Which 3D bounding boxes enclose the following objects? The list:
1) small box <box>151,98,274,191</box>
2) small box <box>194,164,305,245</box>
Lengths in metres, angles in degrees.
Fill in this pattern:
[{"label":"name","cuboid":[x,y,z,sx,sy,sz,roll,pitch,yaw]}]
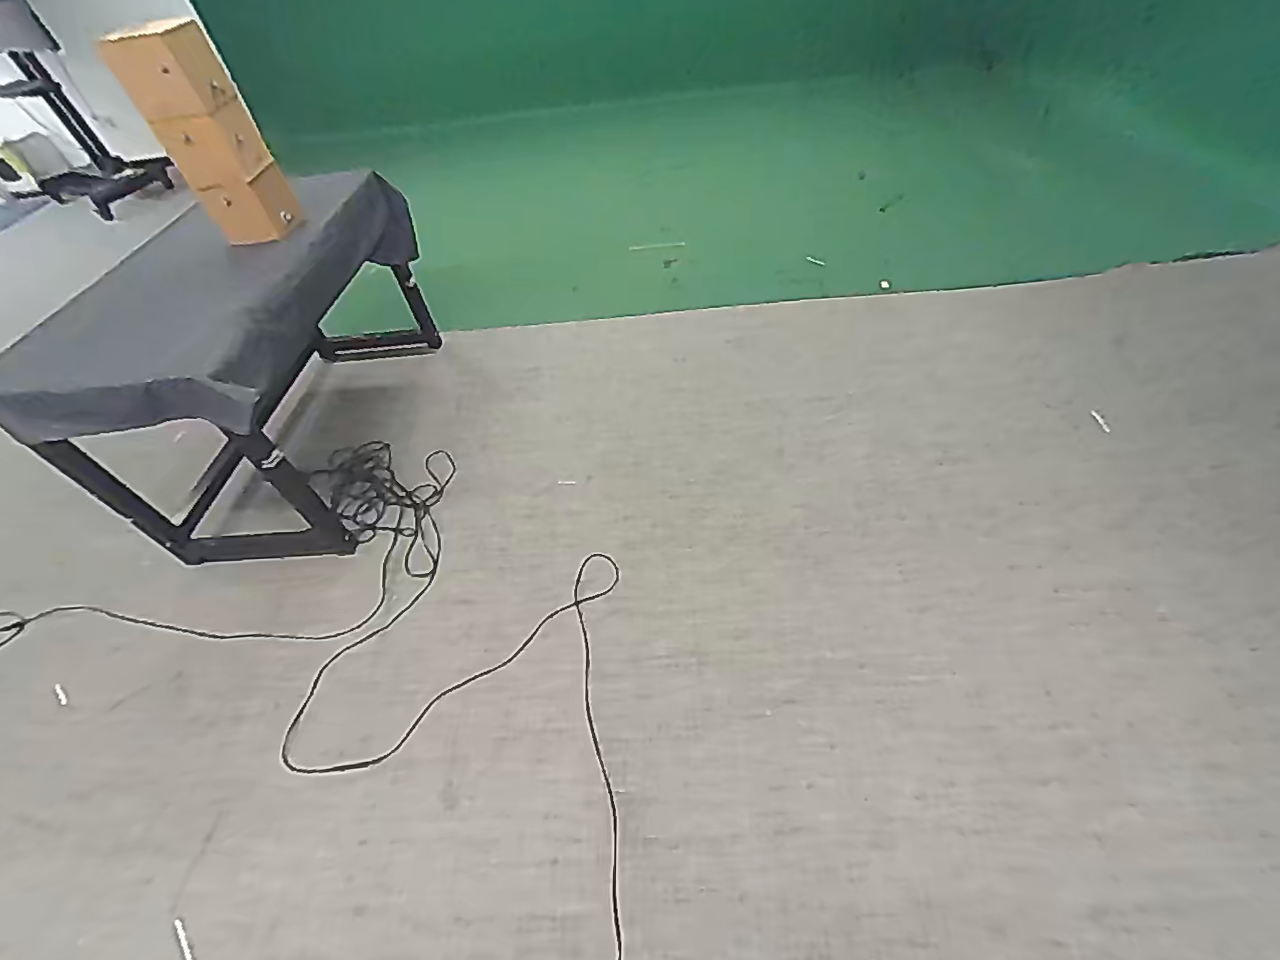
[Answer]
[{"label":"small box","cuboid":[-1.169,-0.926,1.499,0.179,0.176,0.168,-4,50,5]},{"label":"small box","cuboid":[-1.161,-0.823,1.624,0.179,0.176,0.168,-3,50,5]}]
